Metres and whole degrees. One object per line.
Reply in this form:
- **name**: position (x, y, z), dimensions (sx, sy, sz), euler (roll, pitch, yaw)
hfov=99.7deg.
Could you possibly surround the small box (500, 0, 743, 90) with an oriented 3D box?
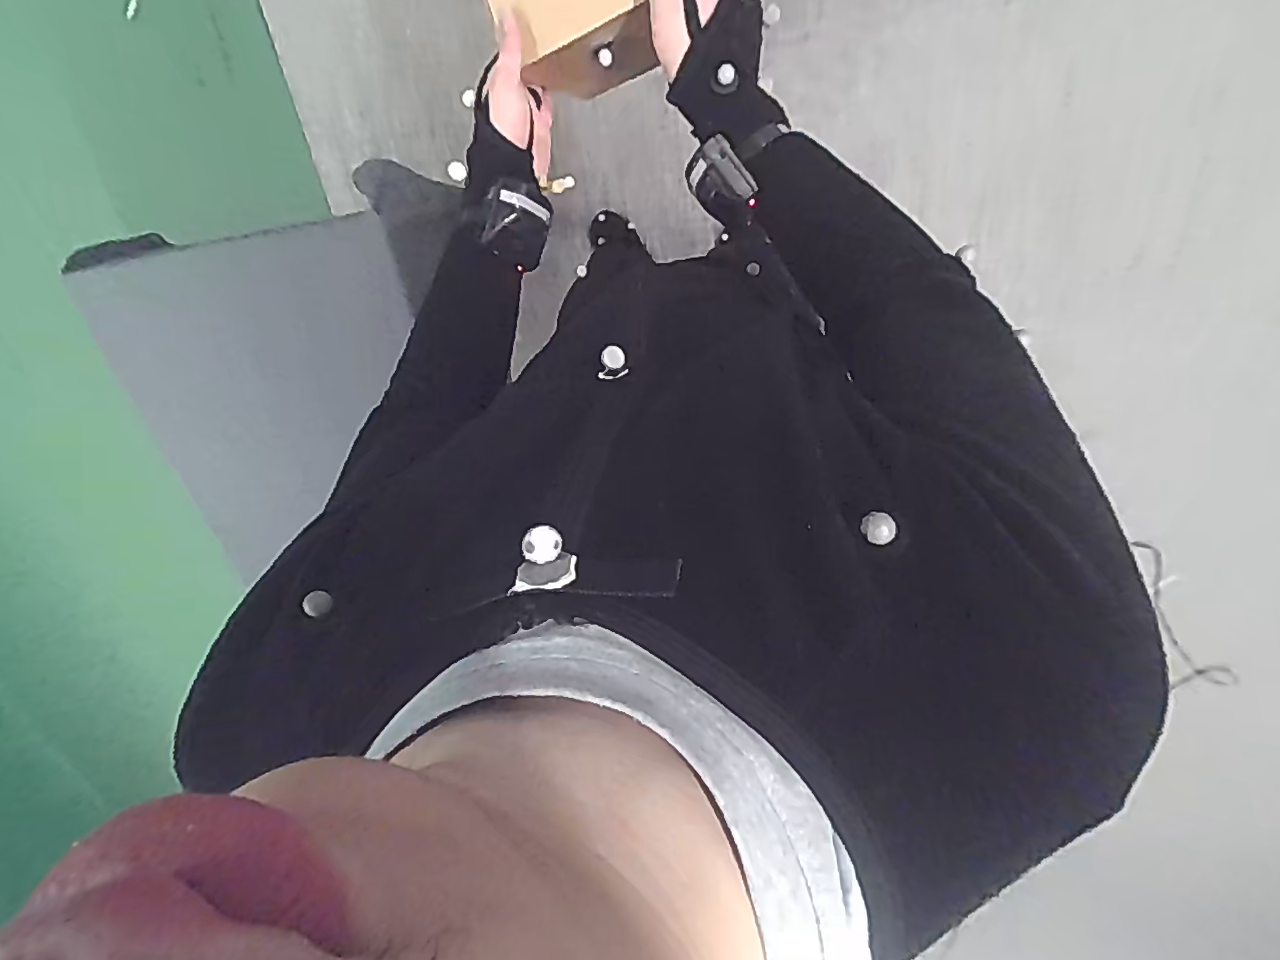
- **small box**: position (-0.022, -0.462, 0.453), dimensions (0.179, 0.176, 0.168), euler (-9, 113, 21)
